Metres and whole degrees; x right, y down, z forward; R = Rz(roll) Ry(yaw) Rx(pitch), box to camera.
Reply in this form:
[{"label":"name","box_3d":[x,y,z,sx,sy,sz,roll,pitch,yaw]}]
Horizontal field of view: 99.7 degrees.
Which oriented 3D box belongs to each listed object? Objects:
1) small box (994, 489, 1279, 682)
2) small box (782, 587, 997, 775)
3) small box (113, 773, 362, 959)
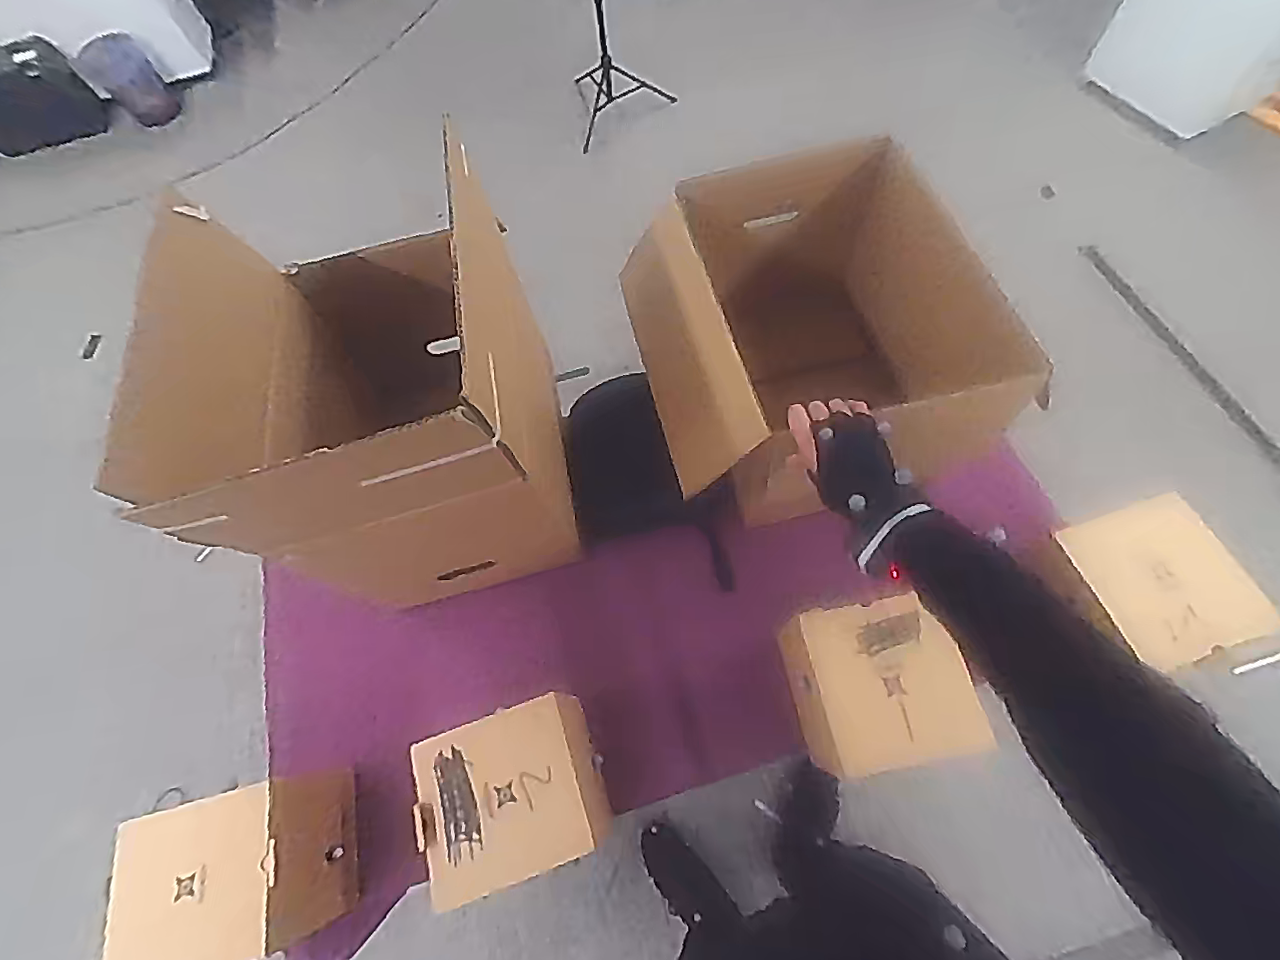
[{"label":"small box","box_3d":[0.601,0.141,0.686,0.168,0.176,0.179,-19,66,-1]},{"label":"small box","box_3d":[0.287,0.249,0.672,0.168,0.176,0.179,-12,67,1]},{"label":"small box","box_3d":[-0.466,0.468,0.652,0.179,0.176,0.168,-15,65,-3]}]
